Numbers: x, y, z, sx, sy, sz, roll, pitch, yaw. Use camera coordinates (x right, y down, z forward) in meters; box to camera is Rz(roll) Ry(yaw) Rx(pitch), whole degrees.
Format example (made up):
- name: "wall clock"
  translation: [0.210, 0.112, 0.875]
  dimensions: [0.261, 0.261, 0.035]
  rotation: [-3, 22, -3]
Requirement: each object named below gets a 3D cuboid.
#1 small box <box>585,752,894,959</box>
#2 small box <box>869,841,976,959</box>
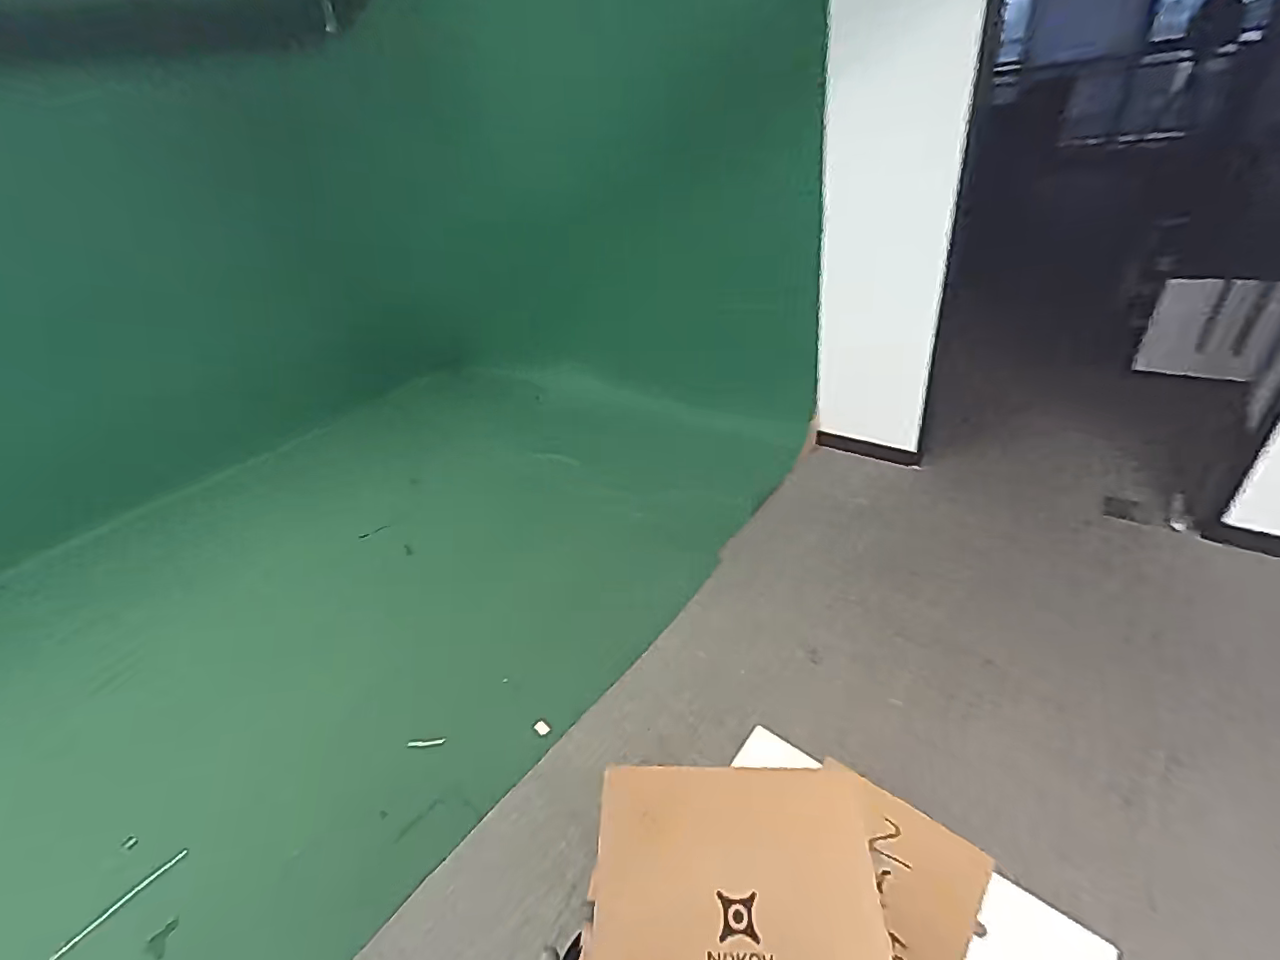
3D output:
- name: "small box"
  translation: [0.057, 0.297, 0.353]
  dimensions: [0.168, 0.176, 0.179]
  rotation: [-2, 48, 4]
- name: "small box"
  translation: [0.256, 0.555, 0.627]
  dimensions: [0.168, 0.176, 0.179]
  rotation: [22, 46, 39]
